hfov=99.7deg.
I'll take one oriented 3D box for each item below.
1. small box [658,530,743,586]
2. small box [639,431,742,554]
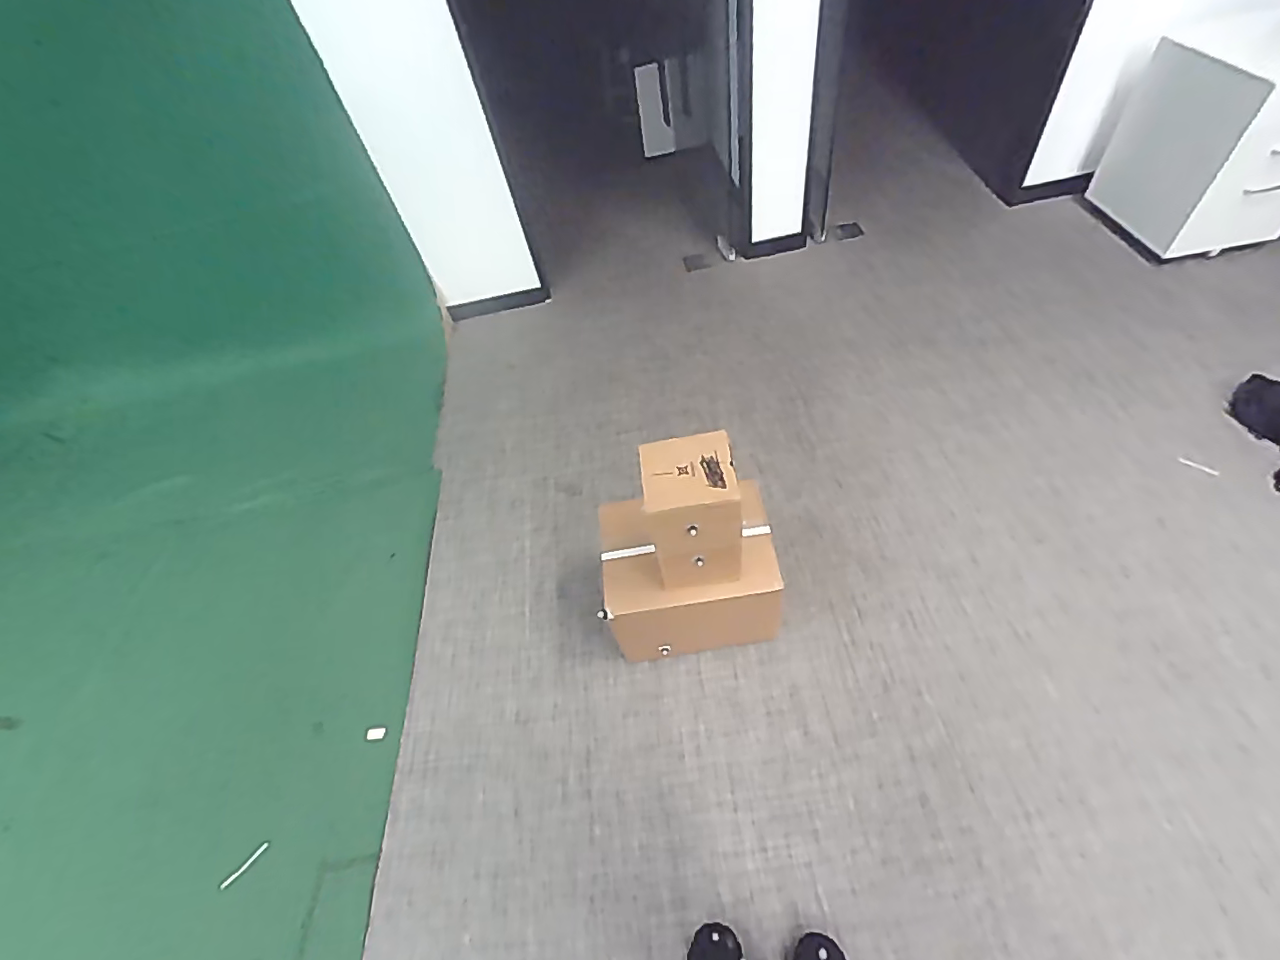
[{"bbox_3d":[0.128,0.122,1.203,0.179,0.176,0.168,-10,54,3],"label":"small box"},{"bbox_3d":[0.101,0.029,1.070,0.179,0.176,0.168,-10,53,6],"label":"small box"}]
